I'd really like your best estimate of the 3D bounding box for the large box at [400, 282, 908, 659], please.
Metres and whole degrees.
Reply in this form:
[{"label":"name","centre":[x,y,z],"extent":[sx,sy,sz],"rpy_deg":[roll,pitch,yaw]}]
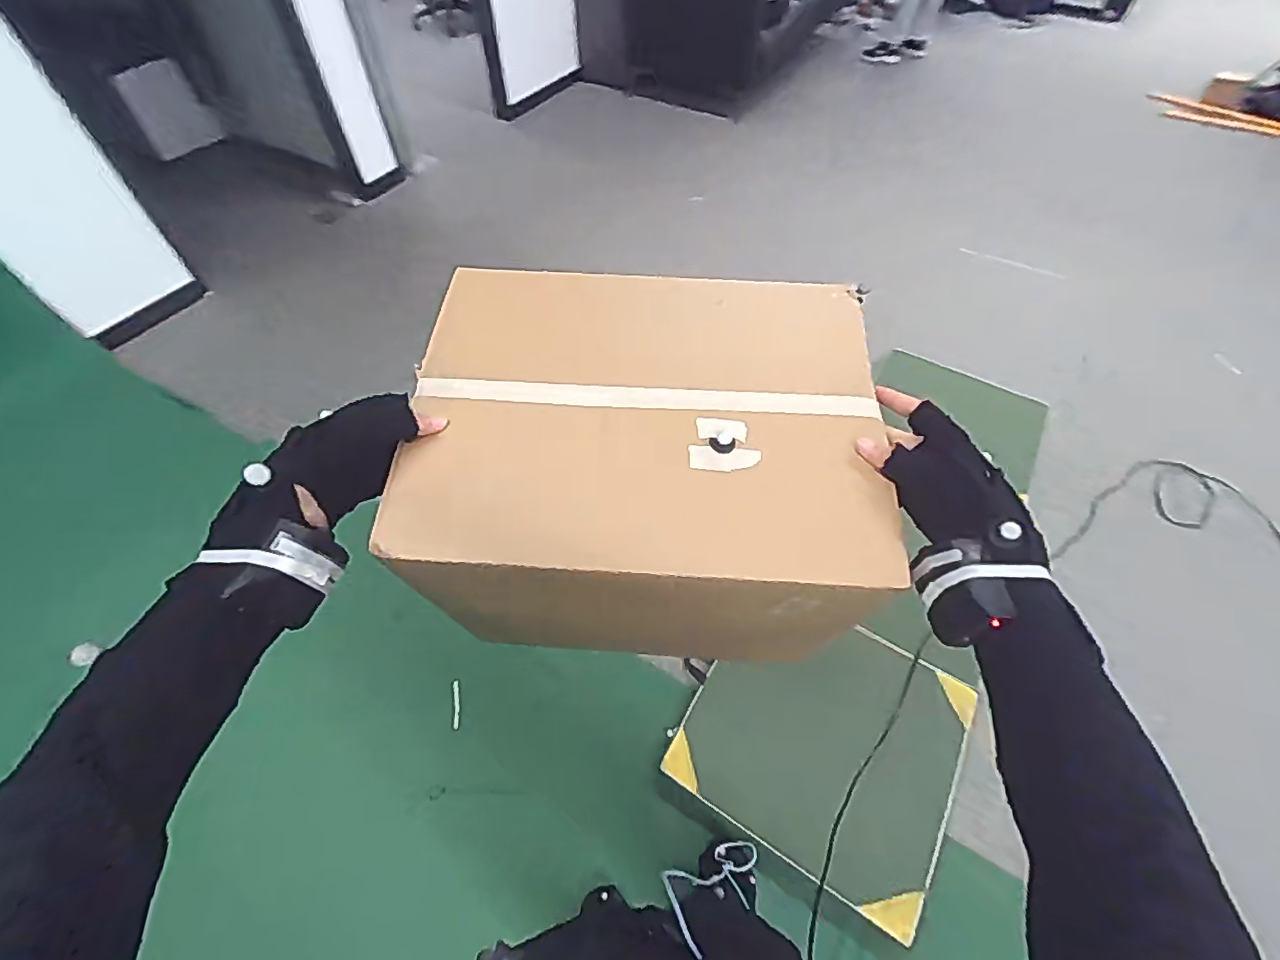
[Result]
[{"label":"large box","centre":[0.014,0.008,0.617],"extent":[0.408,0.320,0.320],"rpy_deg":[4,62,1]}]
